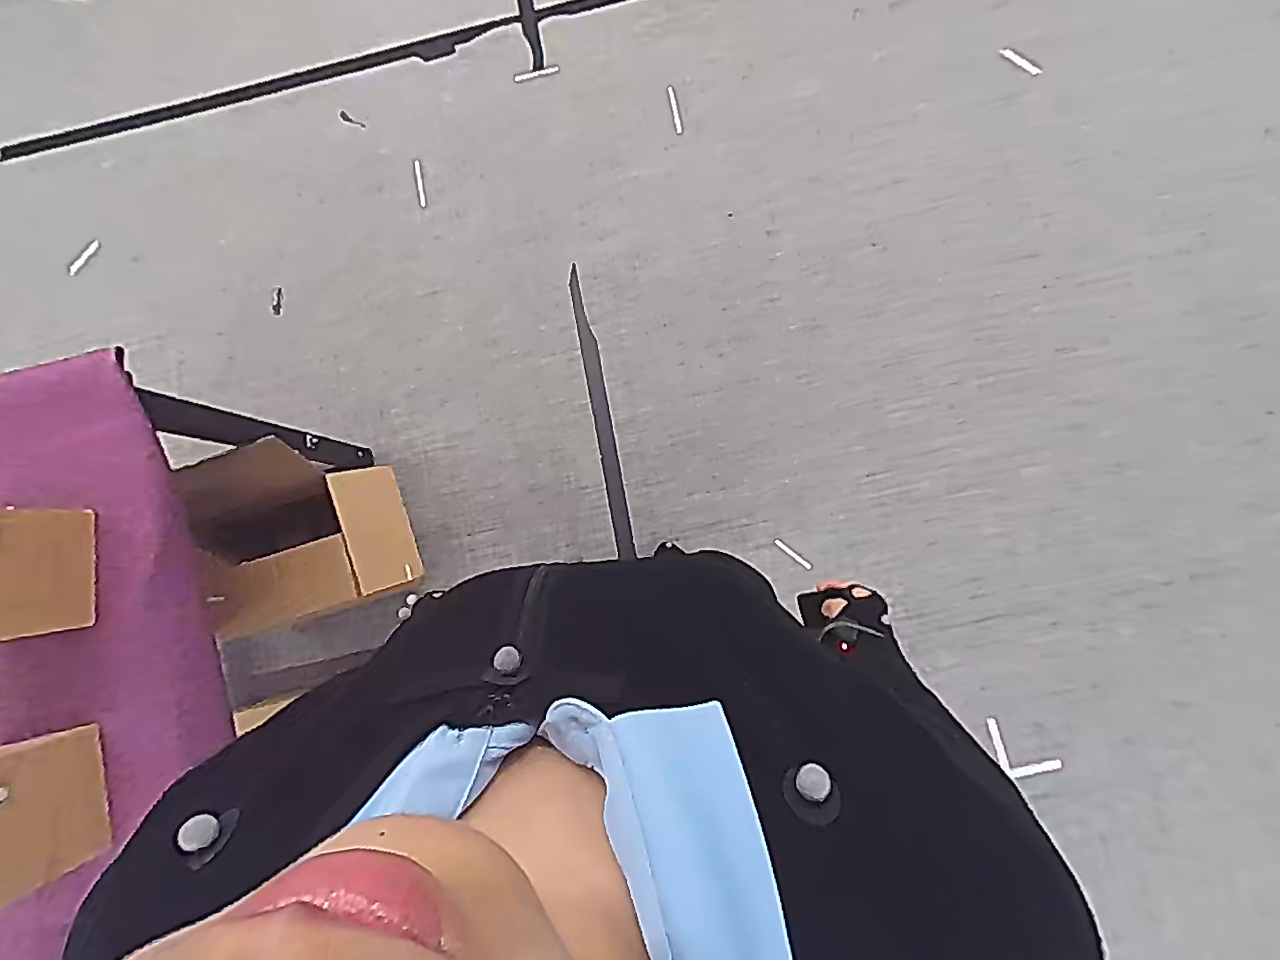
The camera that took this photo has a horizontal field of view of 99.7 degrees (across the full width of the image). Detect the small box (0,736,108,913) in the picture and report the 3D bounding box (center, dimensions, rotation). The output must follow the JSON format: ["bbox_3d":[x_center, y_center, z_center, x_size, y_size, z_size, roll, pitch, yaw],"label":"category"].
[{"bbox_3d":[-0.847,0.451,0.693,0.168,0.176,0.179,-14,84,4],"label":"small box"}]

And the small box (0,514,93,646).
[{"bbox_3d":[-0.899,0.139,0.729,0.168,0.176,0.179,-7,84,2],"label":"small box"}]
